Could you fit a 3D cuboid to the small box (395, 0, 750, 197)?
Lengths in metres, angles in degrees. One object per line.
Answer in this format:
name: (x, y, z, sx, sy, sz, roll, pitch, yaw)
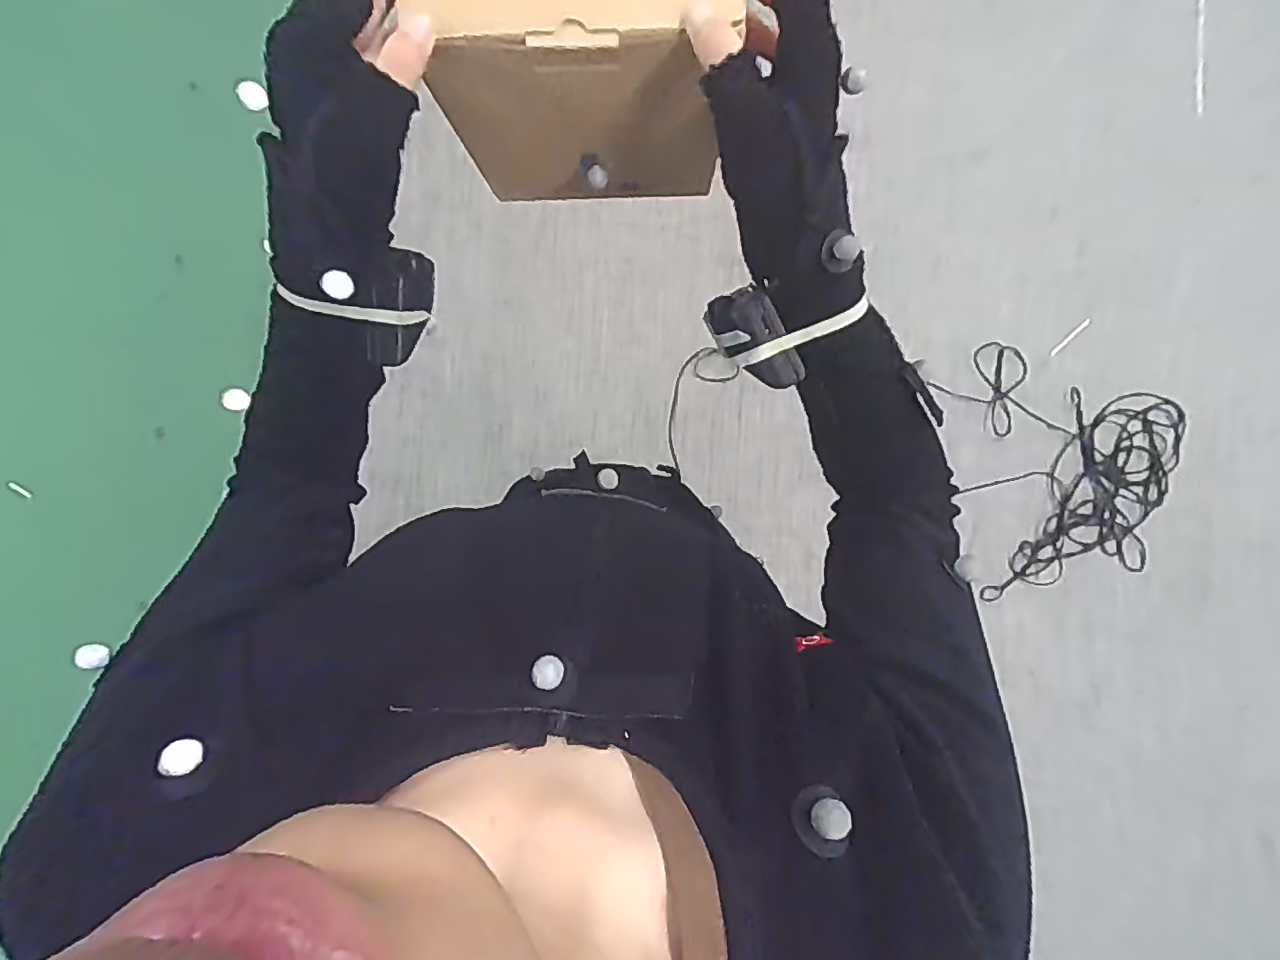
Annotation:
small box: (-0.029, -0.299, 0.324, 0.168, 0.176, 0.179, -1, 92, 2)
